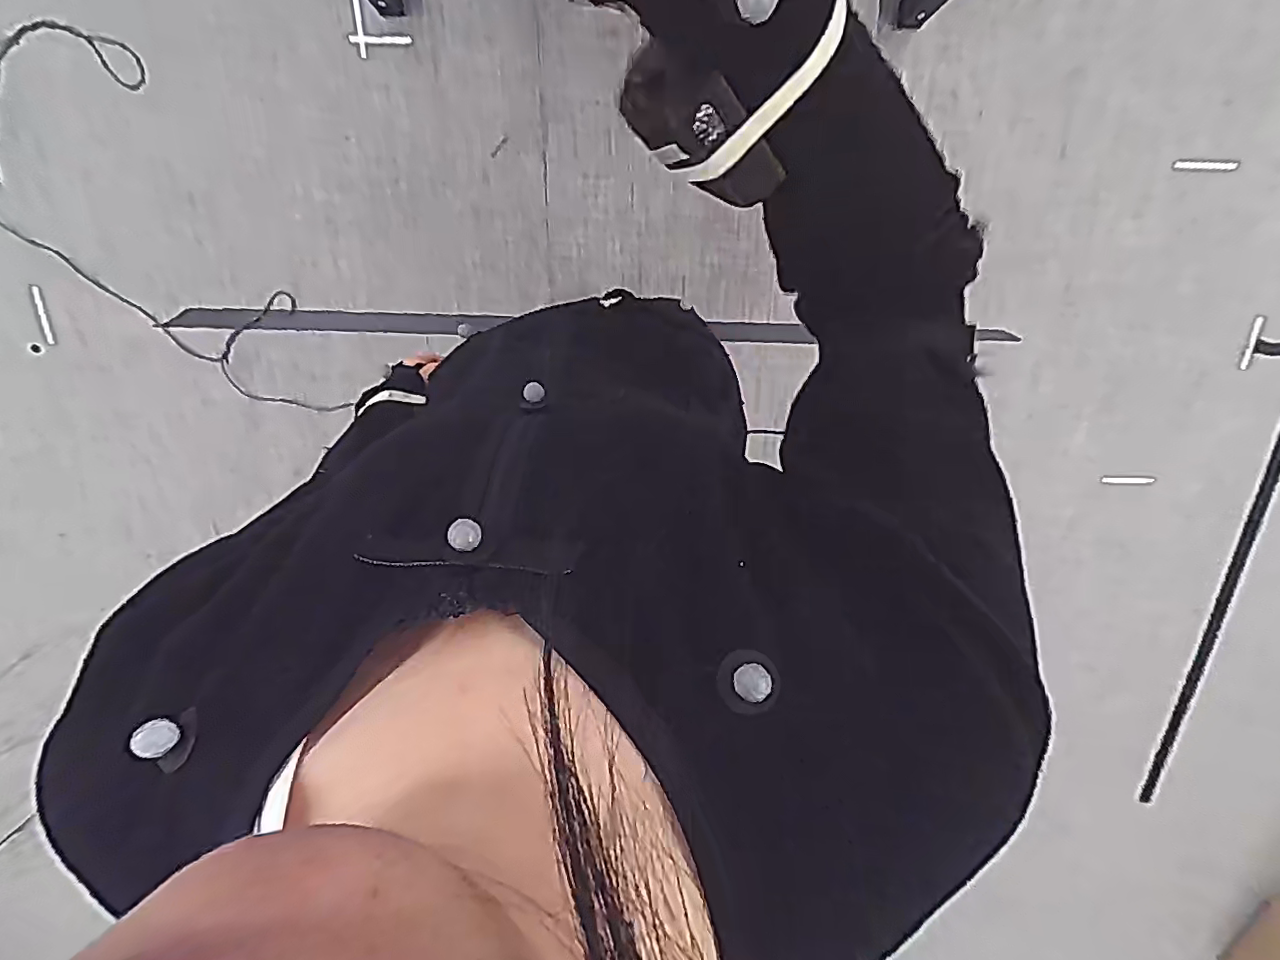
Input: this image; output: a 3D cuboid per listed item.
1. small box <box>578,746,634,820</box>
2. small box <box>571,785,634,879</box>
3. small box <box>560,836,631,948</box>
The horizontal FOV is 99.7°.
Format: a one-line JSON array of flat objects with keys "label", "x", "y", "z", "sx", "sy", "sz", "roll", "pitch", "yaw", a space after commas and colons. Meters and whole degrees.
[{"label": "small box", "x": -0.108, "y": 0.984, "z": 1.746, "sx": 0.168, "sy": 0.176, "sz": 0.179, "roll": -3, "pitch": 108, "yaw": 0}, {"label": "small box", "x": -0.104, "y": 1.038, "z": 1.591, "sx": 0.168, "sy": 0.176, "sz": 0.179, "roll": -5, "pitch": 109, "yaw": 0}, {"label": "small box", "x": -0.112, "y": 1.087, "z": 1.434, "sx": 0.168, "sy": 0.176, "sz": 0.179, "roll": -5, "pitch": 107, "yaw": 1}]
